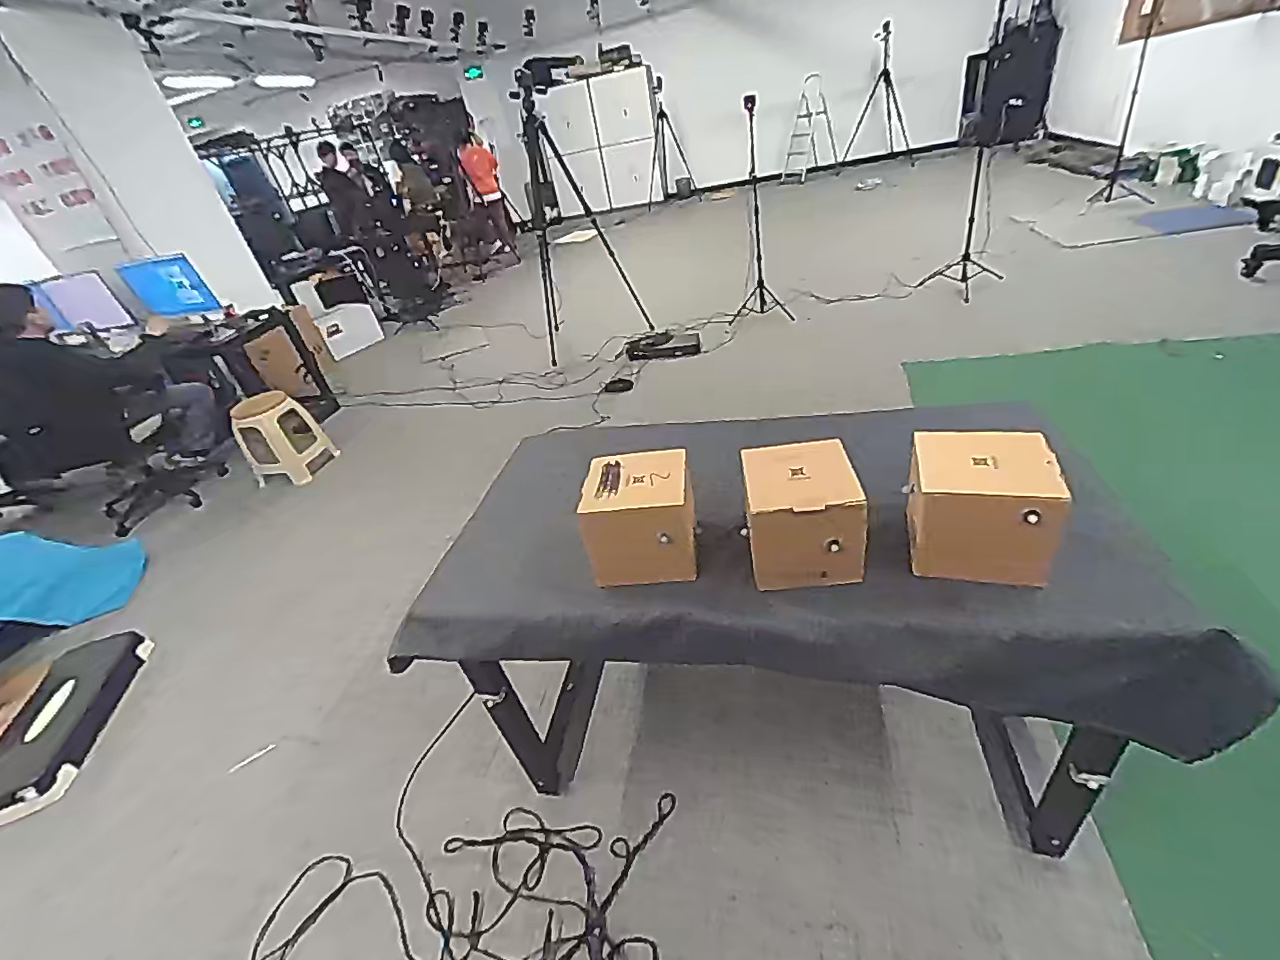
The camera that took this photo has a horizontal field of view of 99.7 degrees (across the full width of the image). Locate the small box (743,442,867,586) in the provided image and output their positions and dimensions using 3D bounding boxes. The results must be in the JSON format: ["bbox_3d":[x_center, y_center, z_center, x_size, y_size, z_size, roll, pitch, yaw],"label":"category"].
[{"bbox_3d":[0.264,0.060,0.889,0.168,0.176,0.179,-6,33,8],"label":"small box"}]

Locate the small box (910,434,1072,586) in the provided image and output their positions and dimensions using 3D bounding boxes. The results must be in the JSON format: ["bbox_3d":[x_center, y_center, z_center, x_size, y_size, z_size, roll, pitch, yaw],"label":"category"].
[{"bbox_3d":[0.517,0.043,0.828,0.179,0.176,0.168,2,36,21],"label":"small box"}]
